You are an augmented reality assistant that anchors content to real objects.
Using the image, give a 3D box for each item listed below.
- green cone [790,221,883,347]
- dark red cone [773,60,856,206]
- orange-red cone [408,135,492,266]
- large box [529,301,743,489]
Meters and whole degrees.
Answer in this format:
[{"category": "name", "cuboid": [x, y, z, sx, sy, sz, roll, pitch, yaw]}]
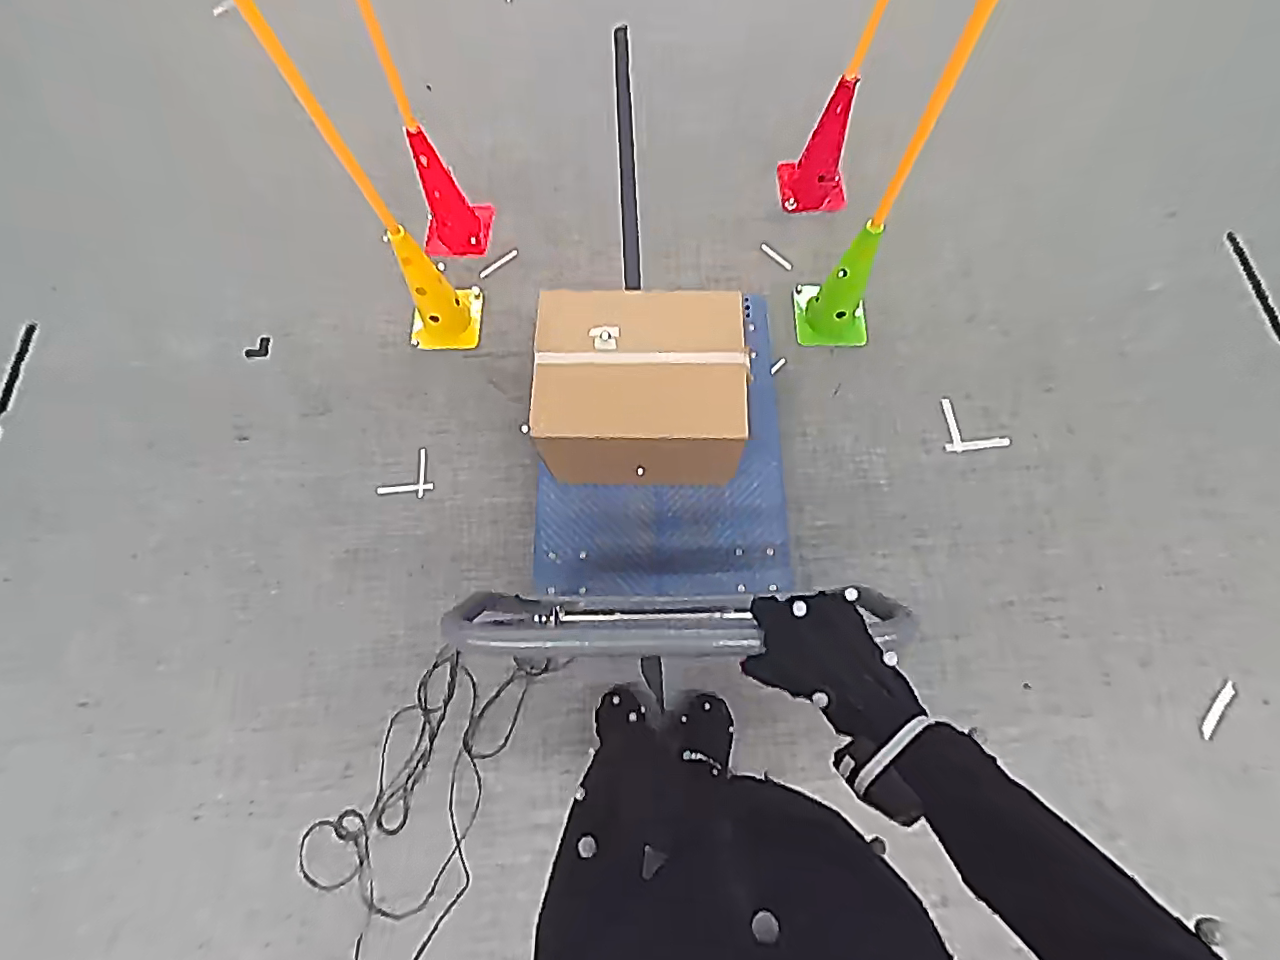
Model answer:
[{"category": "green cone", "cuboid": [0.547, -0.534, 1.436, 0.202, 0.368, 0.200, 0, 72, 1]}, {"category": "dark red cone", "cuboid": [0.535, -1.001, 1.569, 0.201, 0.394, 0.202, -4, 72, -1]}, {"category": "orange-red cone", "cuboid": [-0.586, -0.829, 1.571, 0.198, 0.360, 0.199, 3, 71, 2]}, {"category": "large box", "cuboid": [-0.001, -0.165, 1.183, 0.408, 0.320, 0.320, 0, 73, 3]}]
